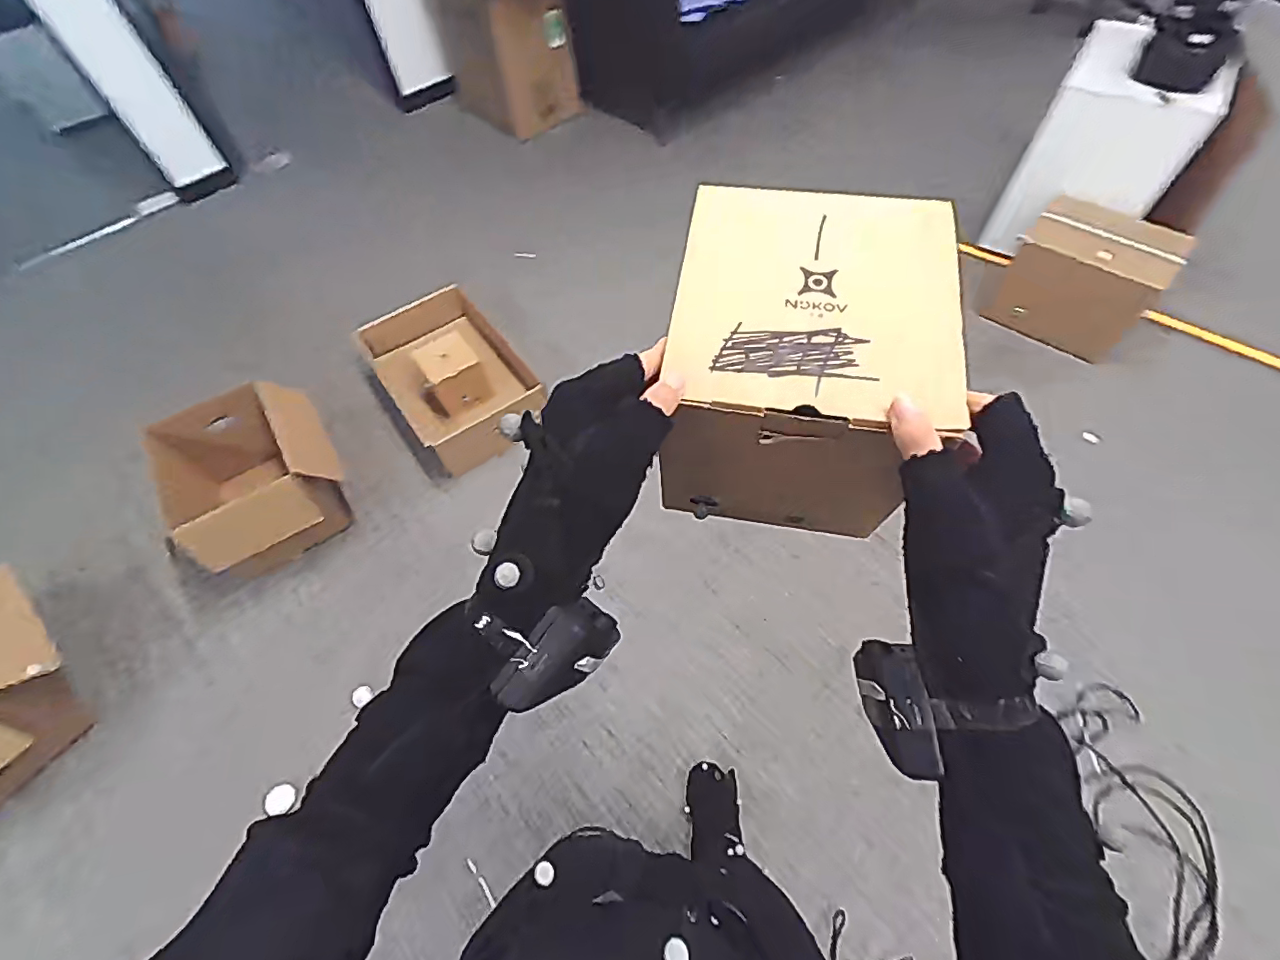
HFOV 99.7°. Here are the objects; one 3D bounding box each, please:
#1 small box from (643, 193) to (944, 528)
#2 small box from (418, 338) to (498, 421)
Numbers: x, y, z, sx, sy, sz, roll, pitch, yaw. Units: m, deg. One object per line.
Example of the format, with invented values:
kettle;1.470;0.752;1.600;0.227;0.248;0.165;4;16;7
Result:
small box;0.102;-0.078;0.402;0.168;0.176;0.179;8;64;8
small box;-0.593;-0.326;1.777;0.168;0.176;0.179;-33;61;-17
